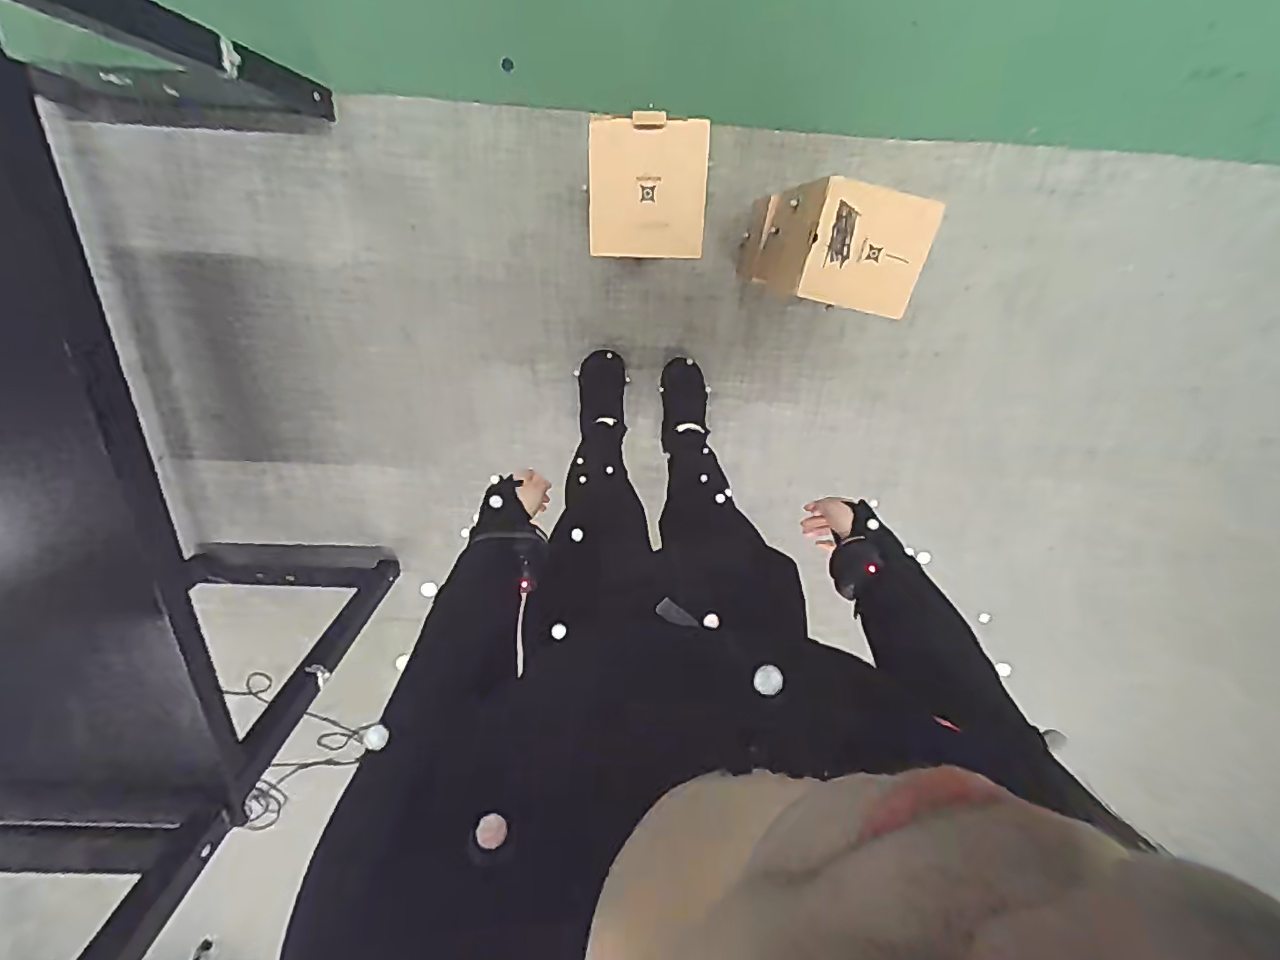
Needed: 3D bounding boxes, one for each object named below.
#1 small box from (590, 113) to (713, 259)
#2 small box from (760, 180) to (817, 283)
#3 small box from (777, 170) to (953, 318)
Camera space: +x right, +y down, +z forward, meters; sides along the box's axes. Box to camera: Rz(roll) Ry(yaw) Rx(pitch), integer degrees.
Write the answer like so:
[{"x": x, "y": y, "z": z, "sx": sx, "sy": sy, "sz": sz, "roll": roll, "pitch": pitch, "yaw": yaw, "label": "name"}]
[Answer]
[{"x": 0.013, "y": -0.430, "z": 0.814, "sx": 0.168, "sy": 0.176, "sz": 0.179, "roll": 1, "pitch": 114, "yaw": 1, "label": "small box"}, {"x": 0.338, "y": -0.430, "z": 0.993, "sx": 0.179, "sy": 0.176, "sz": 0.168, "roll": 13, "pitch": 114, "yaw": -7, "label": "small box"}, {"x": 0.333, "y": -0.363, "z": 0.844, "sx": 0.179, "sy": 0.176, "sz": 0.168, "roll": 11, "pitch": 114, "yaw": -6, "label": "small box"}]
